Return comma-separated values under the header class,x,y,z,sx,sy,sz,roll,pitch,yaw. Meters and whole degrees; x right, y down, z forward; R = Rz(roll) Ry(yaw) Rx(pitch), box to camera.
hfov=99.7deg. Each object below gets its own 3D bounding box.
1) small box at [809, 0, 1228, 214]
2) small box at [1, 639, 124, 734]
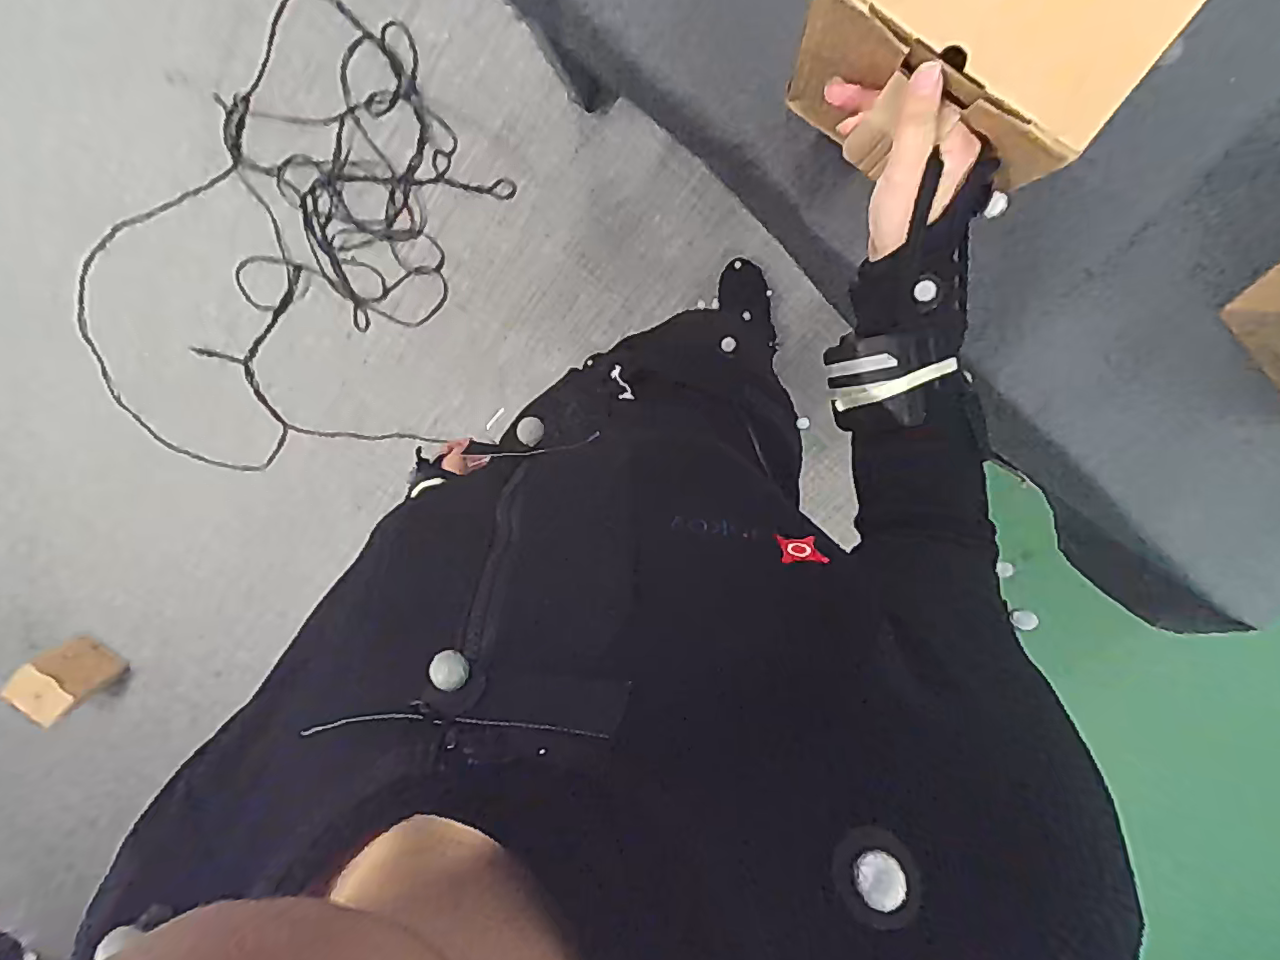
class,x,y,z,sx,sy,sz,roll,pitch,yaw
small box,0.226,-0.299,0.331,0.168,0.176,0.179,35,108,-2
small box,-1.750,0.624,1.652,0.179,0.176,0.168,-40,101,16
